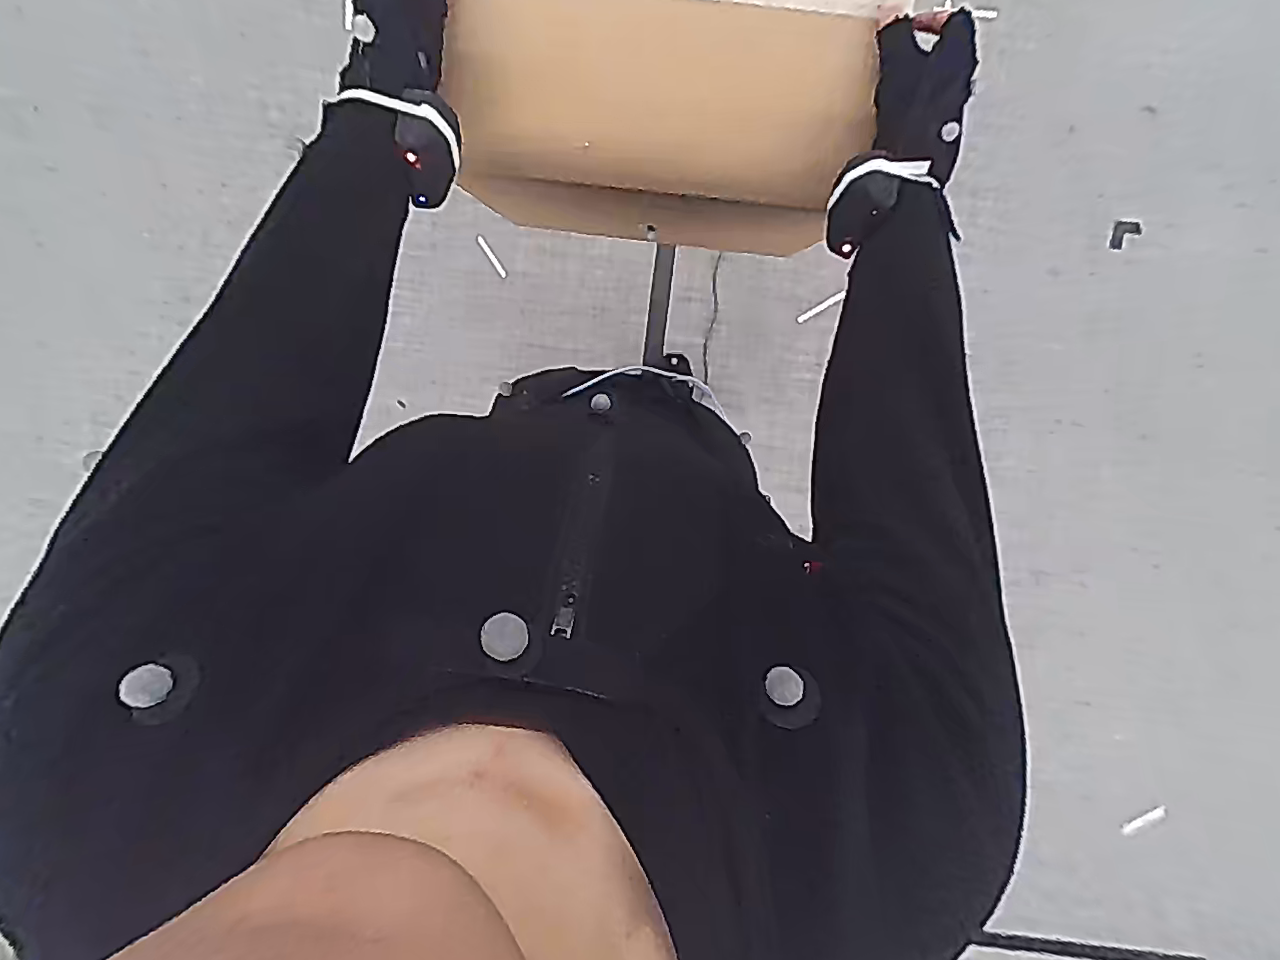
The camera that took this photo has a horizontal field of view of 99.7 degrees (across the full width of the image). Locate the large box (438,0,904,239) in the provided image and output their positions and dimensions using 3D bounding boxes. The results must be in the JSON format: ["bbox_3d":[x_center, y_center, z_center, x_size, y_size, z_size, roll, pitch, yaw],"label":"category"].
[{"bbox_3d":[0.033,-0.465,0.598,0.408,0.320,0.320,6,106,0],"label":"large box"}]
